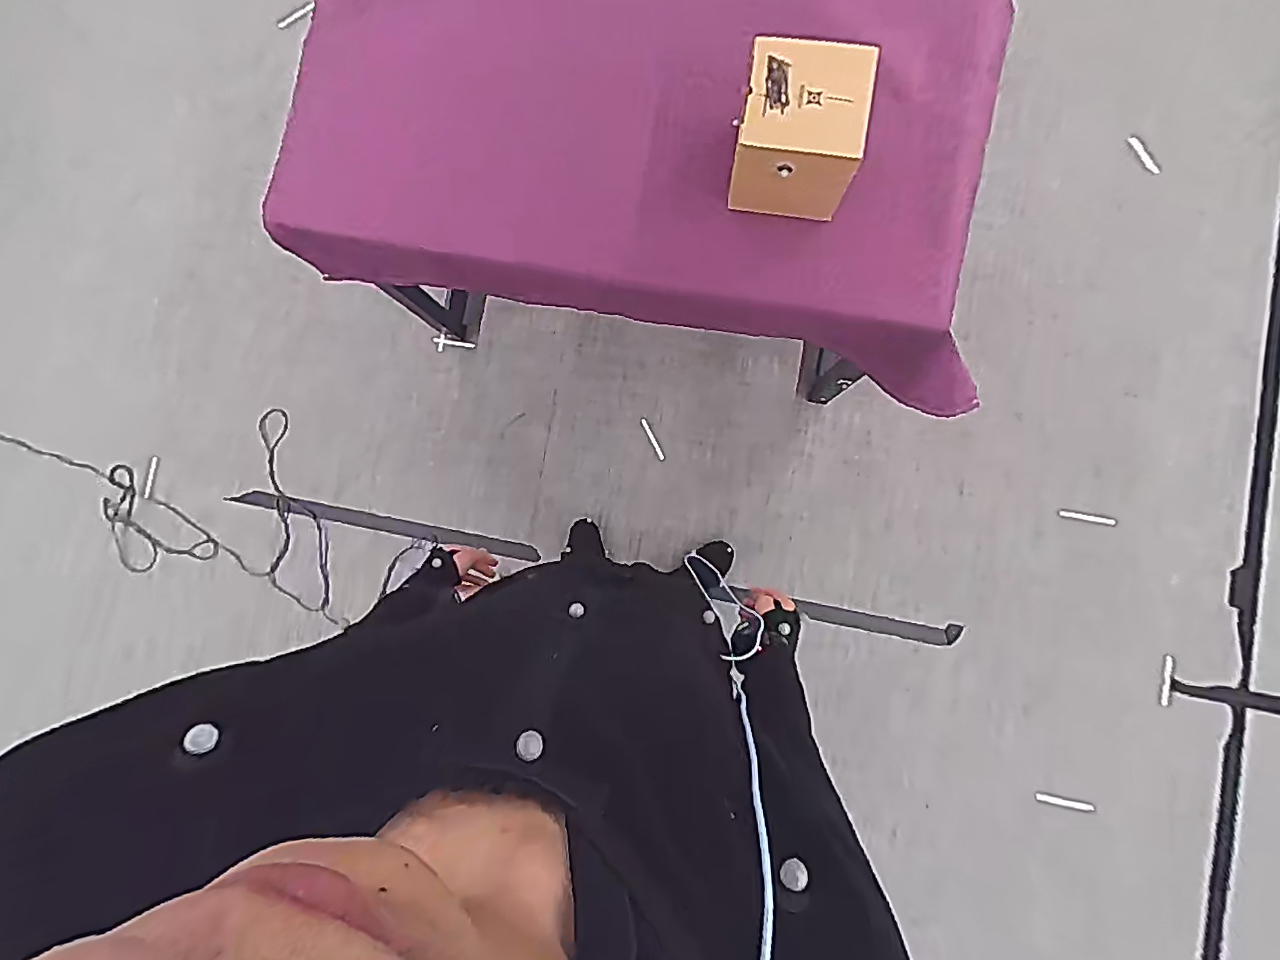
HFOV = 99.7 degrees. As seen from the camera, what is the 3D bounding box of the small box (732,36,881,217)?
[{"bbox_3d":[0.245,-0.535,0.840,0.179,0.176,0.168,10,88,4],"label":"small box"}]
